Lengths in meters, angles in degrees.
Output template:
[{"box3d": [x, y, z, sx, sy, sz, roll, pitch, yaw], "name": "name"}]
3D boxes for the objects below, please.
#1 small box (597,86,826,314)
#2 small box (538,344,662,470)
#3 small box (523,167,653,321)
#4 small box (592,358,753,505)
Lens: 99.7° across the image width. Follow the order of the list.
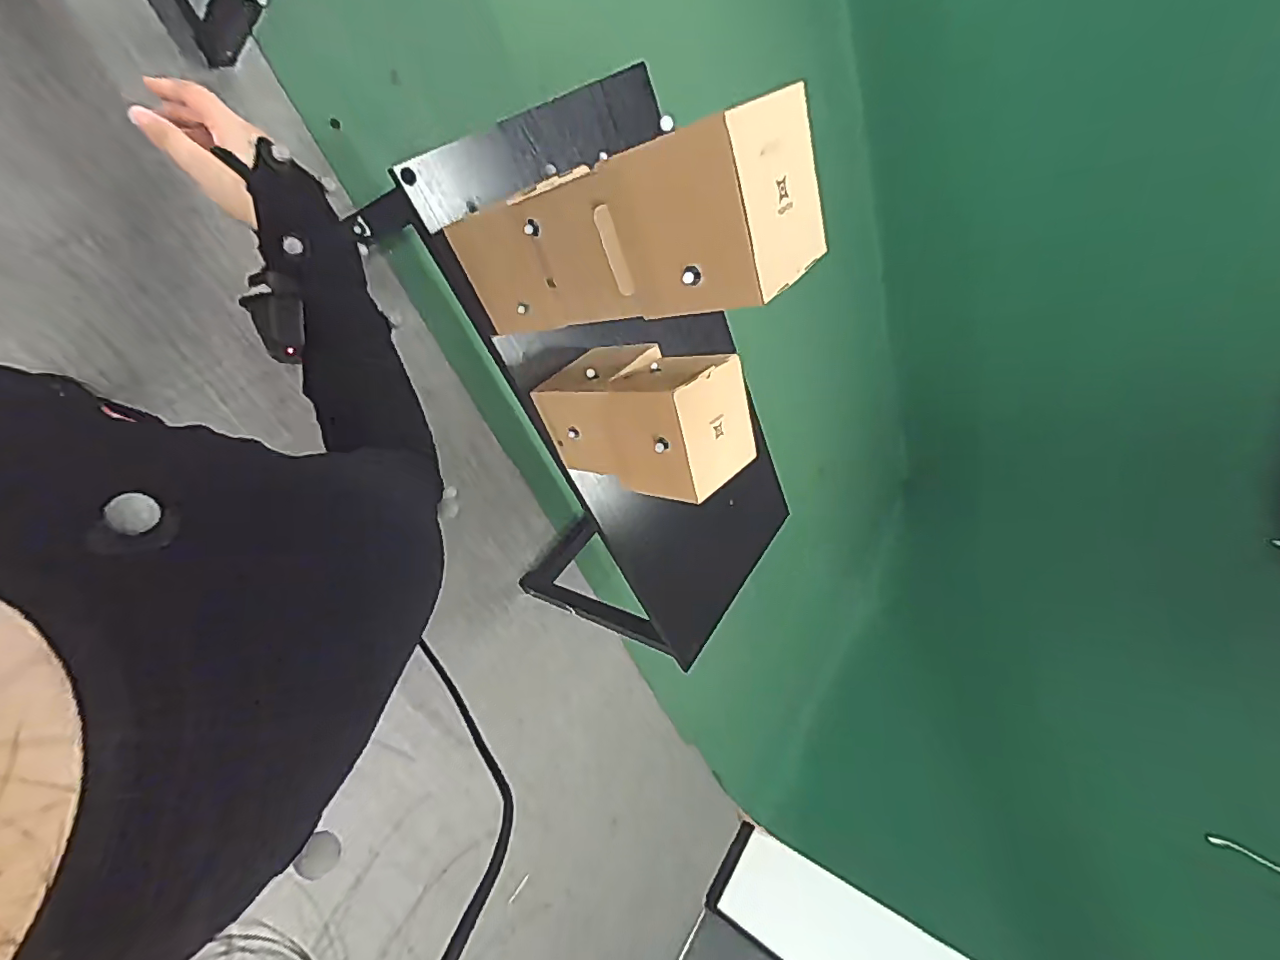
[{"box3d": [0.083, -0.296, 0.600, 0.168, 0.176, 0.179, -45, 127, -34], "name": "small box"}, {"box3d": [-0.058, -0.128, 0.962, 0.179, 0.176, 0.168, -44, 127, -33], "name": "small box"}, {"box3d": [-0.030, -0.322, 0.714, 0.179, 0.176, 0.168, -45, 128, -33], "name": "small box"}, {"box3d": [0.052, -0.084, 0.849, 0.168, 0.176, 0.179, -35, 121, -37], "name": "small box"}]
